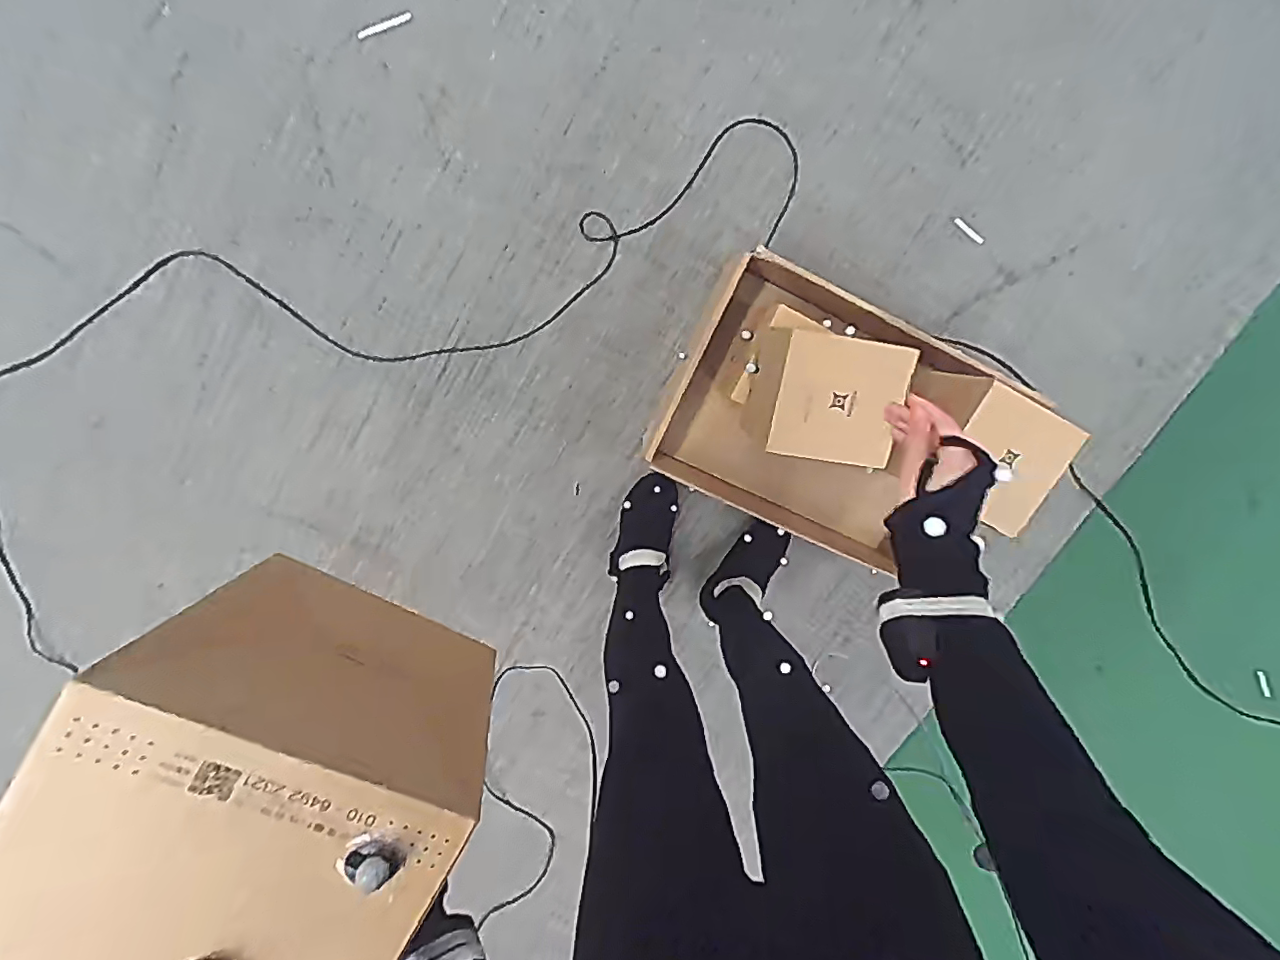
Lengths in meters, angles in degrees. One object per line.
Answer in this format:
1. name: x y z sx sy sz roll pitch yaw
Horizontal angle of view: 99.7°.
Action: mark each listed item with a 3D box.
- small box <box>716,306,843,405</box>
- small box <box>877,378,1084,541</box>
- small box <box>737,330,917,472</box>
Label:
1. small box: 0.251 -0.186 0.943 0.179 0.176 0.168 24 104 -10
2. small box: 0.495 -0.042 0.822 0.168 0.176 0.179 26 103 -8
3. small box: 0.259 -0.123 0.792 0.179 0.176 0.168 8 106 -5
